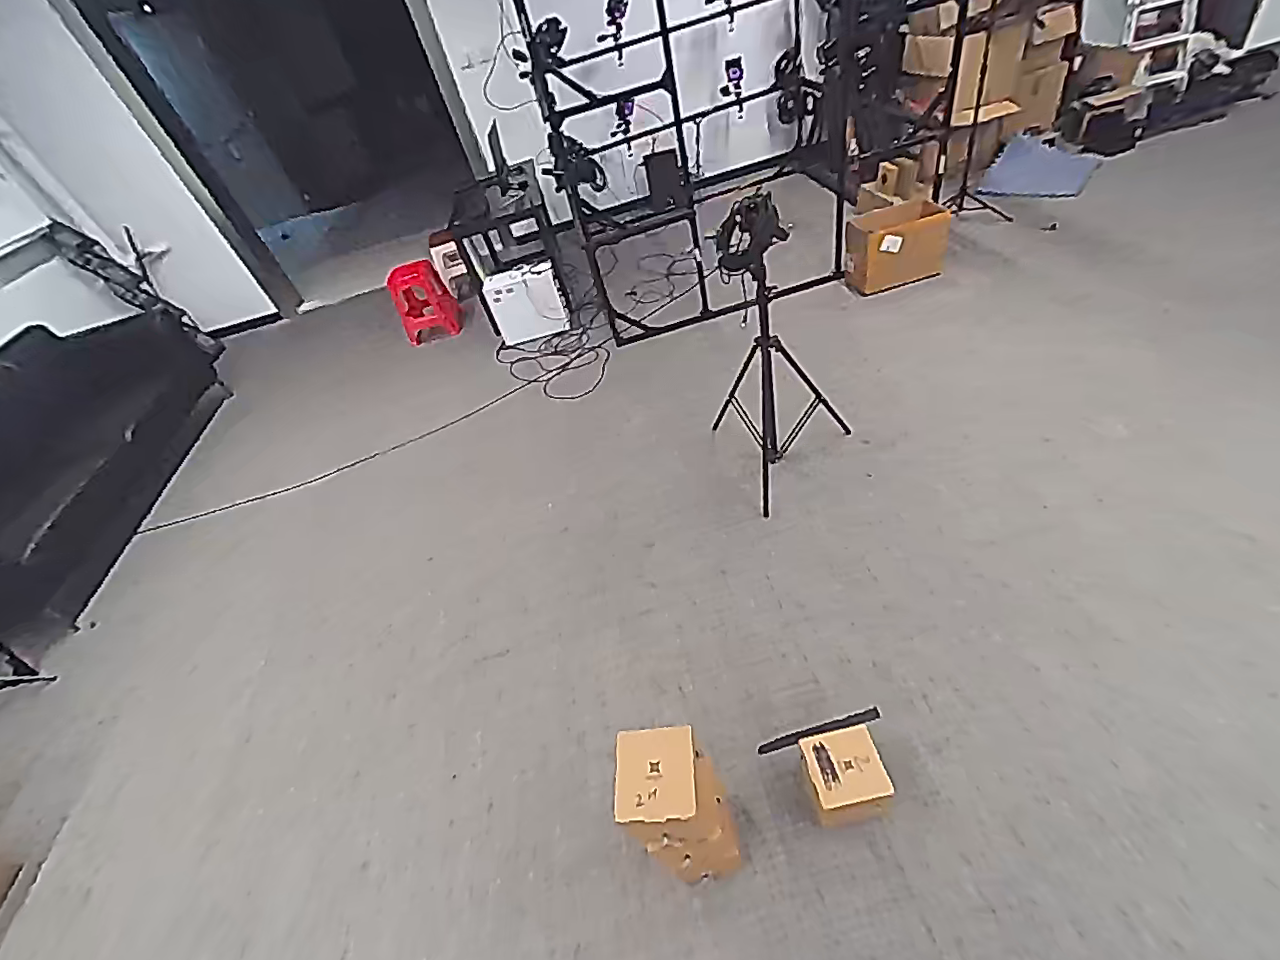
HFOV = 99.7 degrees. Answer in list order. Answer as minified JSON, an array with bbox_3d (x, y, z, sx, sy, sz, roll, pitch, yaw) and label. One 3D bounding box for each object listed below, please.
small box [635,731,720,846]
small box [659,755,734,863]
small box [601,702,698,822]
[{"bbox_3d":[0.080,0.704,1.232,0.168,0.176,0.179,-14,44,6],"label":"small box"},{"bbox_3d":[0.127,0.816,1.339,0.168,0.176,0.179,-15,43,4],"label":"small box"},{"bbox_3d":[0.024,0.589,1.127,0.168,0.176,0.179,-10,44,10],"label":"small box"}]
